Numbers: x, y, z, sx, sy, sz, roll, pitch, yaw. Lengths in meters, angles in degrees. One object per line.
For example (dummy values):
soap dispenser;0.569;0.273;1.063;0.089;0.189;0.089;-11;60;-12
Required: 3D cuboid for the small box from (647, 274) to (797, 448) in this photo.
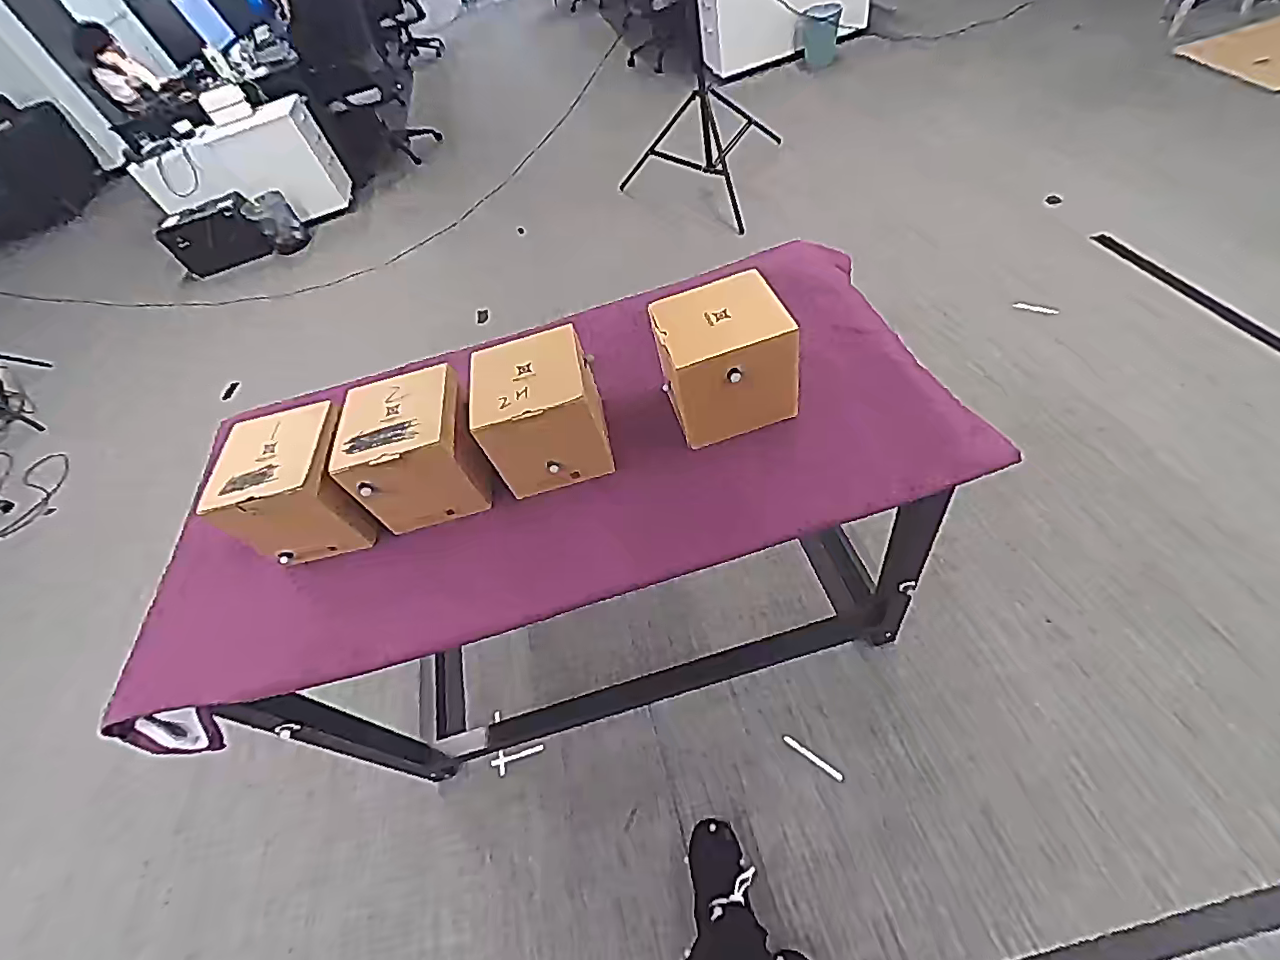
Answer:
small box;0.126;-0.178;0.830;0.179;0.176;0.168;-19;50;2
